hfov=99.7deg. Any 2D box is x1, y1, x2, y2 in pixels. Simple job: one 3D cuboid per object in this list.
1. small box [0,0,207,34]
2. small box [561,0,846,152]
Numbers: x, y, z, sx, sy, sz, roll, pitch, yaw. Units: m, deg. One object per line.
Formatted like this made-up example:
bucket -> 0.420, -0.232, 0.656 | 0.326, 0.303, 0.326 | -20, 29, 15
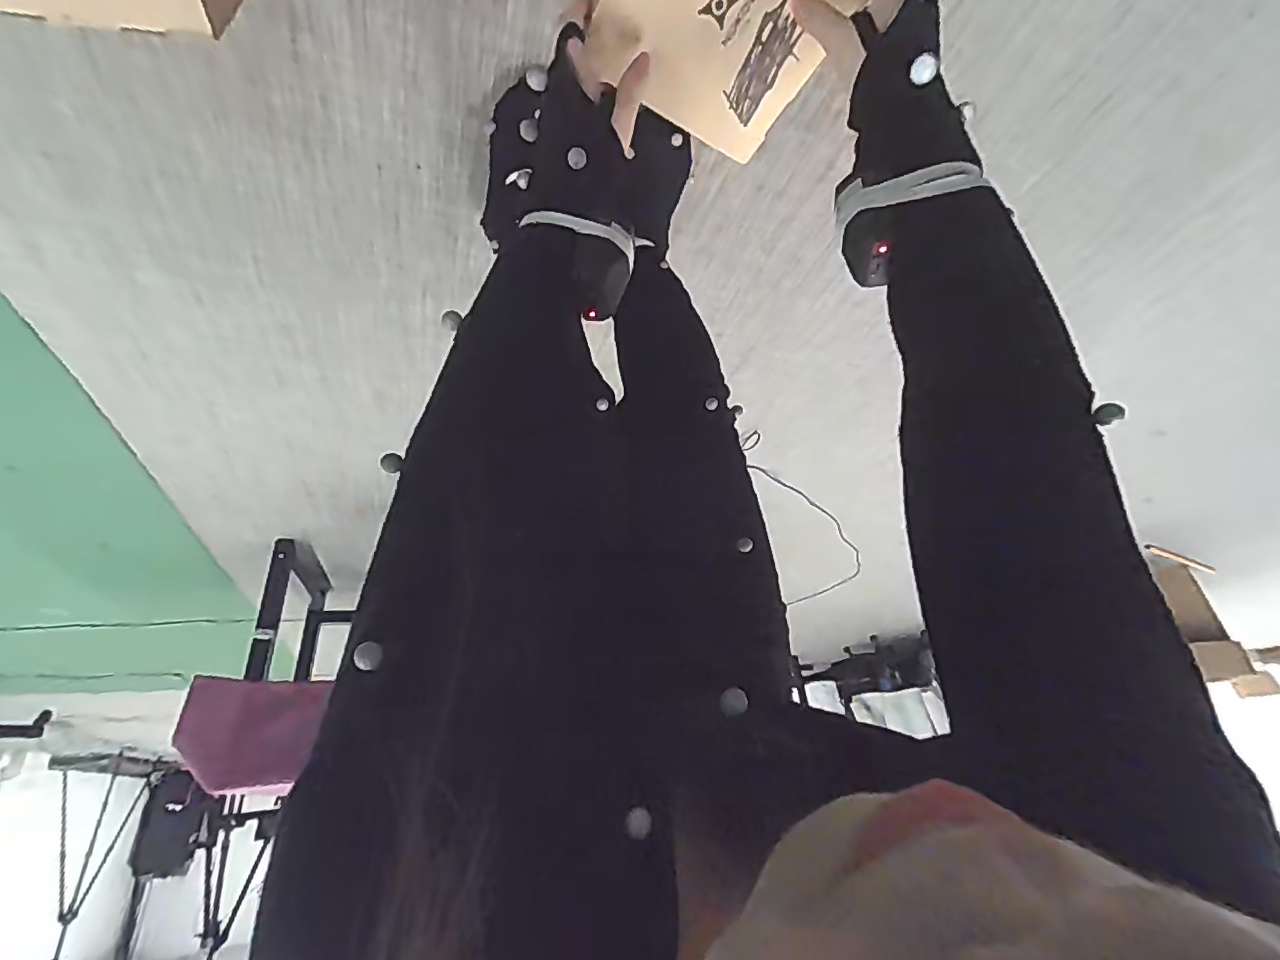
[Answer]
small box -> -0.380, -0.431, 0.336 | 0.168, 0.176, 0.179 | 0, 150, -12
small box -> 0.048, -0.423, 0.437 | 0.179, 0.176, 0.168 | 12, 146, -29
